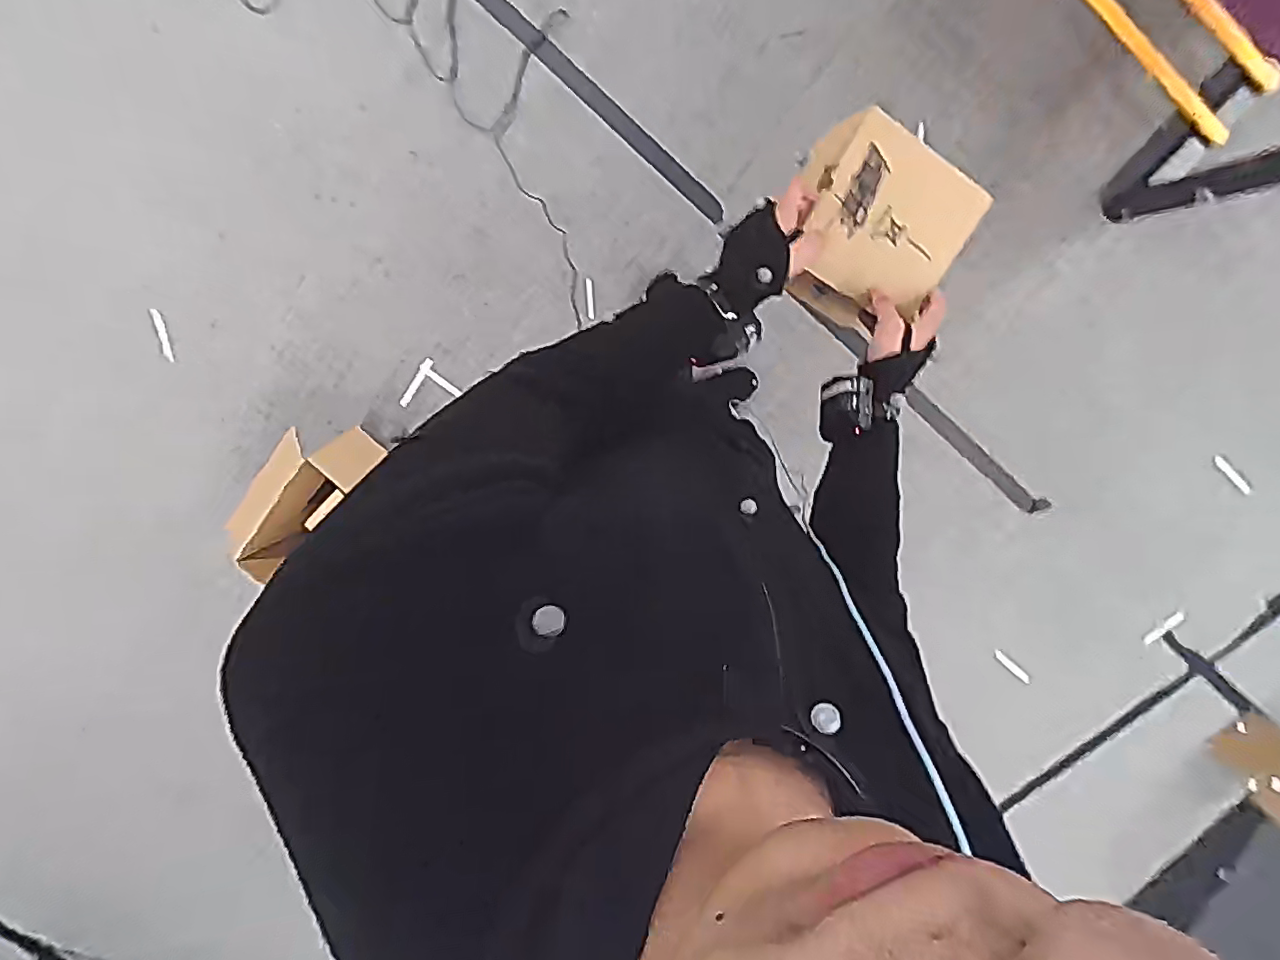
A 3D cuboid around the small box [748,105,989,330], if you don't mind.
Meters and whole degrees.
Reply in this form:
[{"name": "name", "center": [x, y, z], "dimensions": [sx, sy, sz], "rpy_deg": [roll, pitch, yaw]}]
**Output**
[{"name": "small box", "center": [0.258, -0.301, 0.660], "dimensions": [0.179, 0.176, 0.168], "rpy_deg": [27, 105, -15]}]
